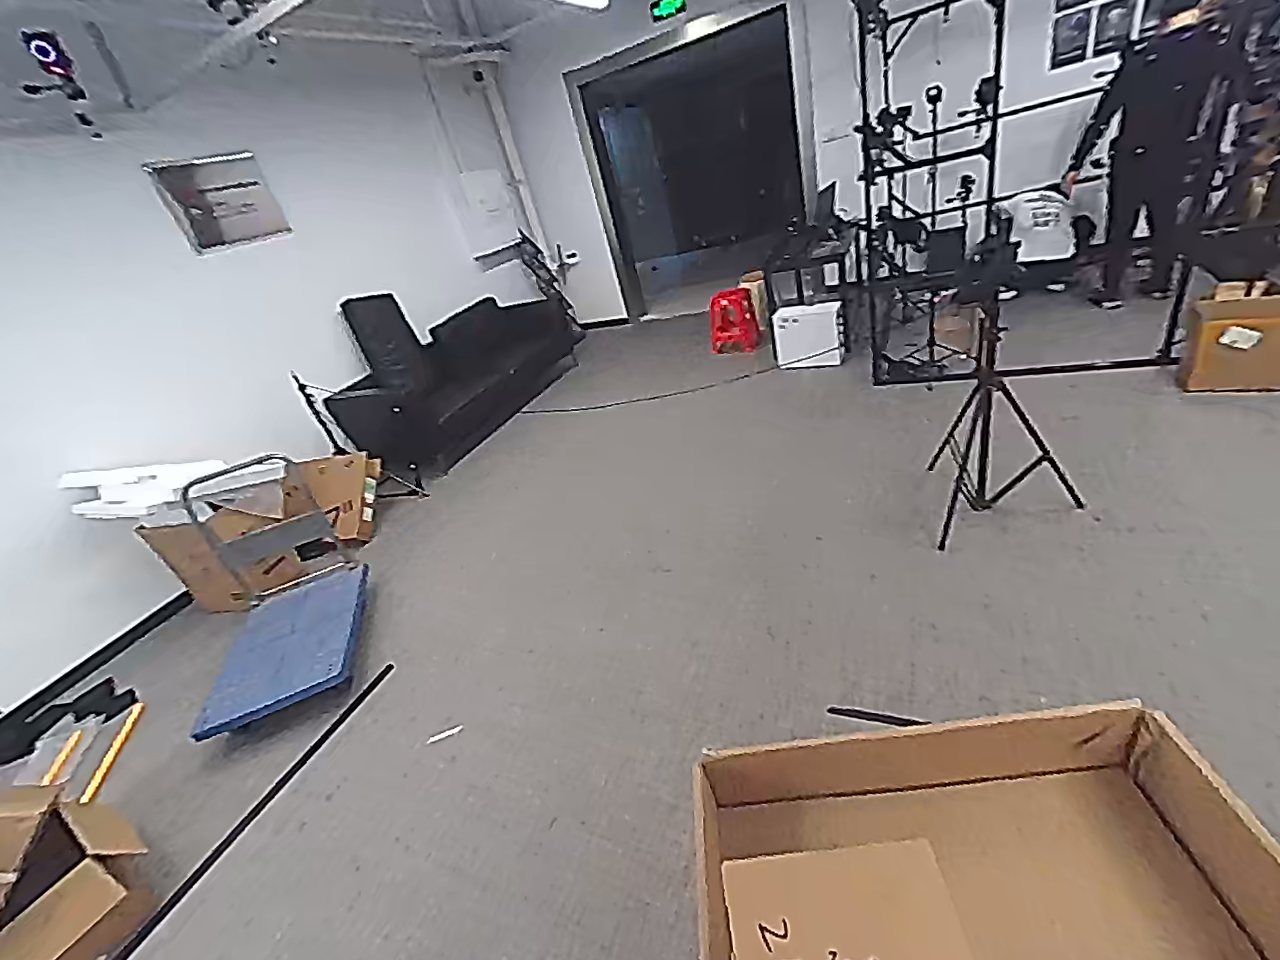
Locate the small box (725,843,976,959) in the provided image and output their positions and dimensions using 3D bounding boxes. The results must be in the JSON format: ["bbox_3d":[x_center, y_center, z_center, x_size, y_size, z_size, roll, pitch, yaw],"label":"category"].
[{"bbox_3d":[0.177,0.425,0.443,0.179,0.176,0.168,-13,38,8],"label":"small box"}]
